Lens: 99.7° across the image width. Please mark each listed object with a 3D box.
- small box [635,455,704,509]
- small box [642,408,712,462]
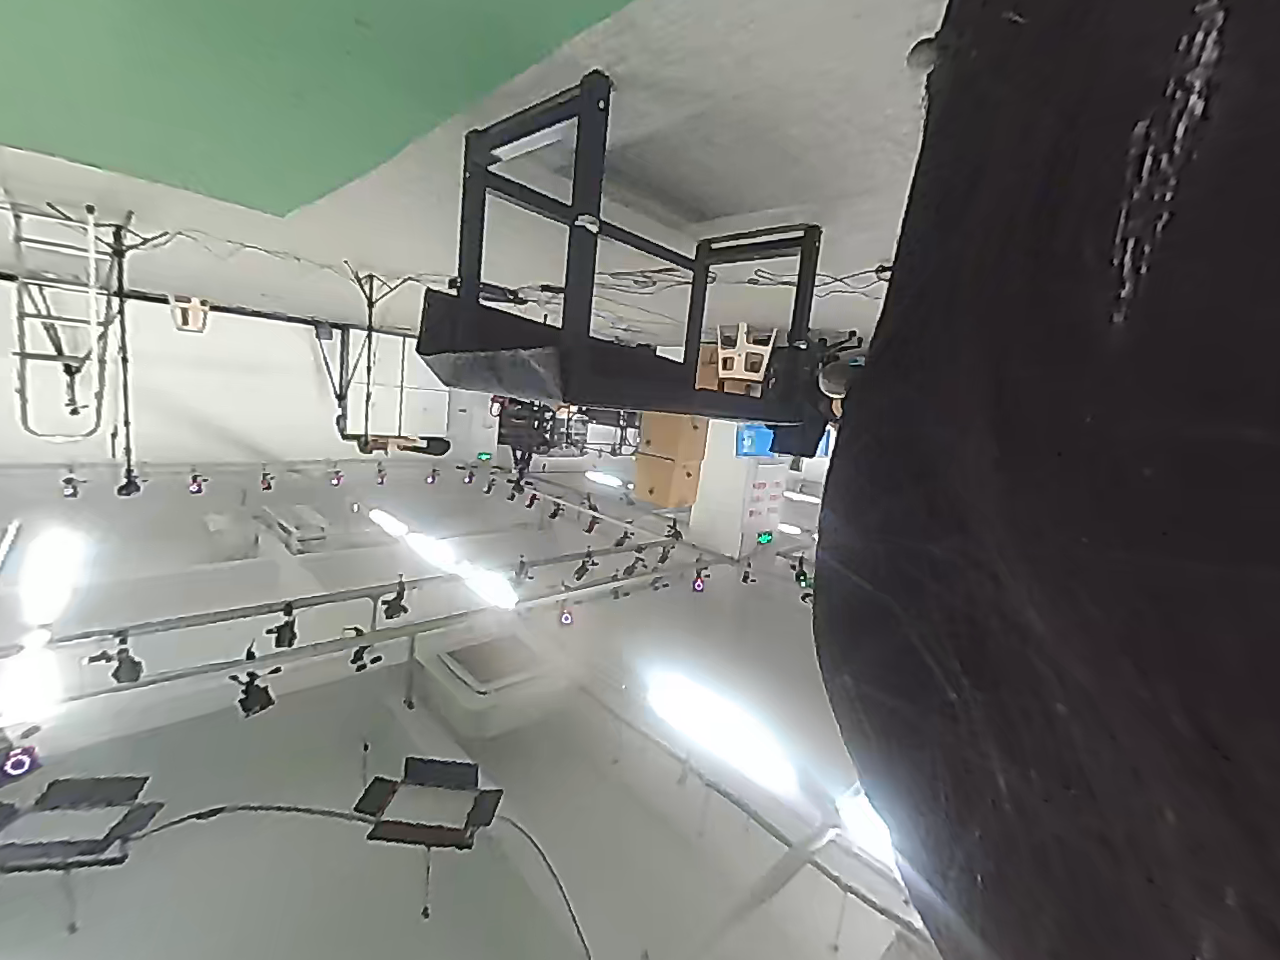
[{"bbox_3d":[0.106,-0.002,1.908,0.179,0.176,0.168,14,-169,41],"label":"small box"},{"bbox_3d":[0.131,-0.160,1.879,0.179,0.176,0.168,14,-168,42],"label":"small box"}]
